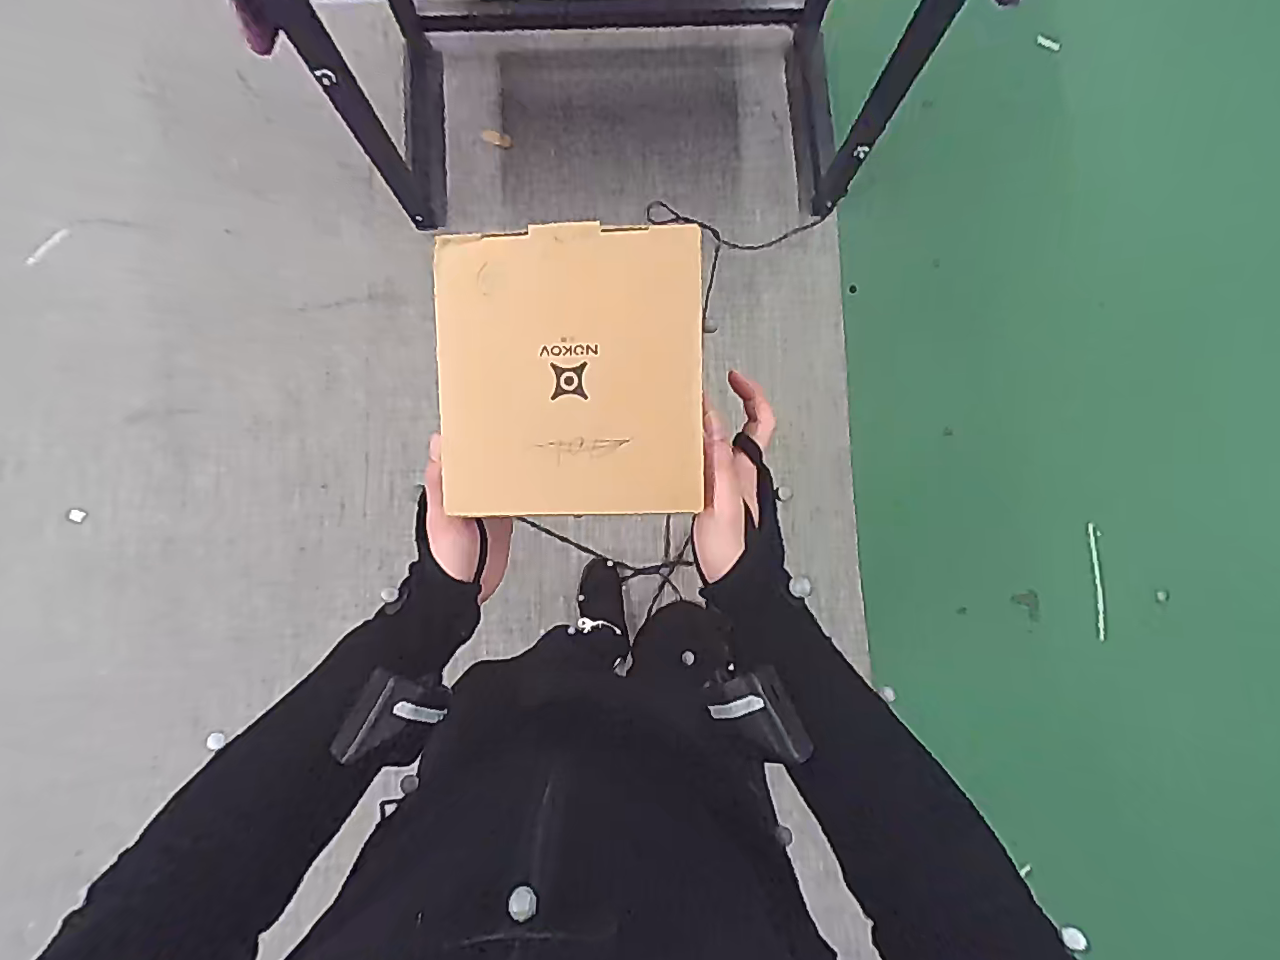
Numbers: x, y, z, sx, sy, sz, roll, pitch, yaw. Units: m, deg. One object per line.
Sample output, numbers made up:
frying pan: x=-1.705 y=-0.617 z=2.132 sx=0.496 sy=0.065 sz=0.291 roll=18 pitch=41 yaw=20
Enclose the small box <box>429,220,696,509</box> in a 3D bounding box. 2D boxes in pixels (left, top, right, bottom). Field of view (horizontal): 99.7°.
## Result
small box: x=-0.043 y=-0.074 z=0.412 sx=0.168 sy=0.176 sz=0.179 roll=-1 pitch=95 yaw=4
